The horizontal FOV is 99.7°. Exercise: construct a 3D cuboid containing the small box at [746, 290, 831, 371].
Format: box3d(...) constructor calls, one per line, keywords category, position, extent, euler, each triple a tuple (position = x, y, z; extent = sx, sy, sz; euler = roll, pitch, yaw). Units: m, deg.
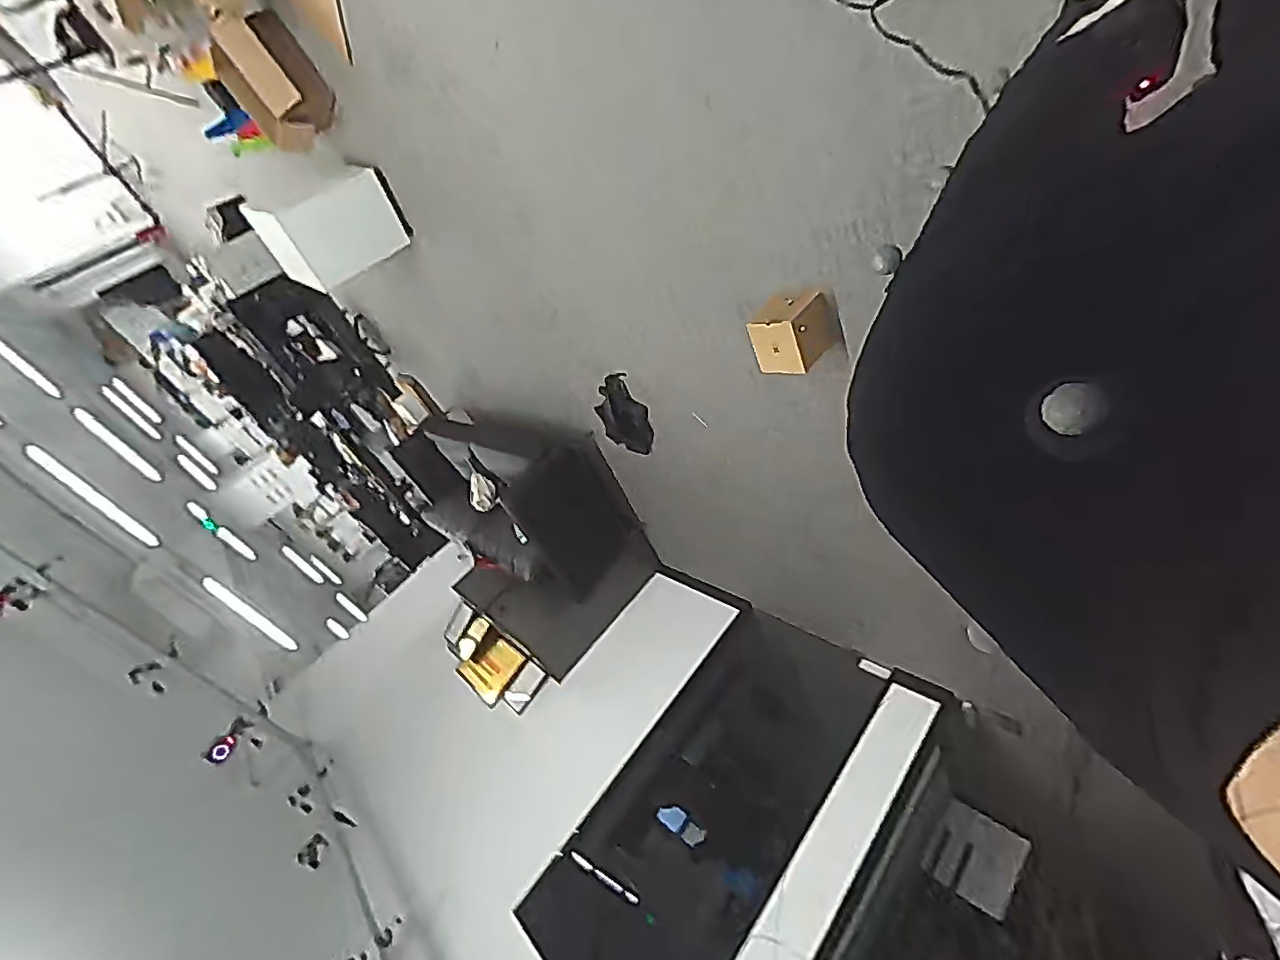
box3d(category="small box", position=(0.456, -0.453, 1.642), extent=(0.168, 0.176, 0.179), euler=(16, 143, 49))
